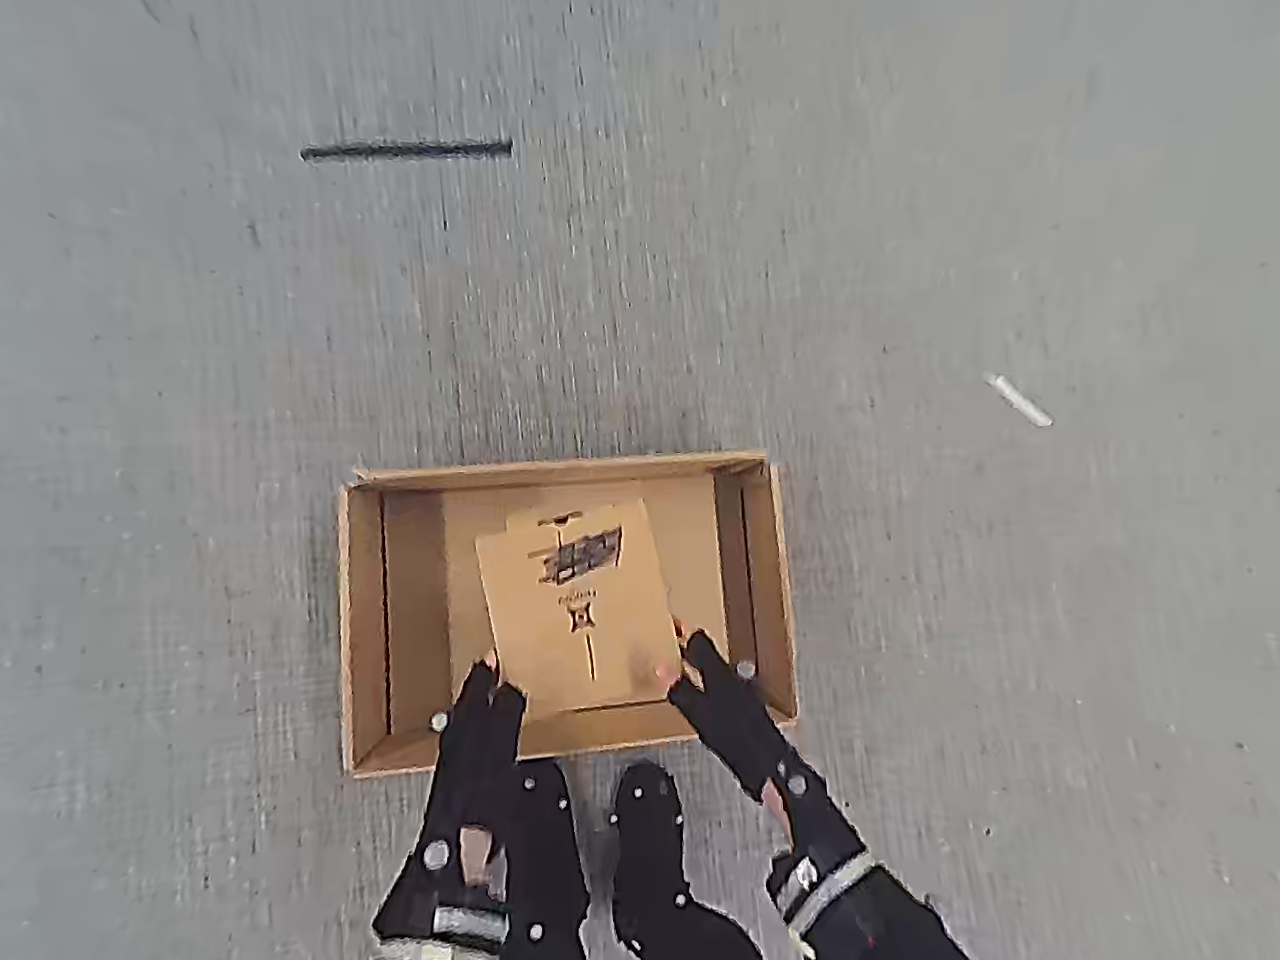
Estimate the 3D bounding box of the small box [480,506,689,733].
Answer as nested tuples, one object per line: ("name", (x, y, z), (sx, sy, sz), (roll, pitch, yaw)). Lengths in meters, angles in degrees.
("small box", (-0.061, 0.136, 0.572), (0.168, 0.176, 0.179), (-12, 82, -8))
